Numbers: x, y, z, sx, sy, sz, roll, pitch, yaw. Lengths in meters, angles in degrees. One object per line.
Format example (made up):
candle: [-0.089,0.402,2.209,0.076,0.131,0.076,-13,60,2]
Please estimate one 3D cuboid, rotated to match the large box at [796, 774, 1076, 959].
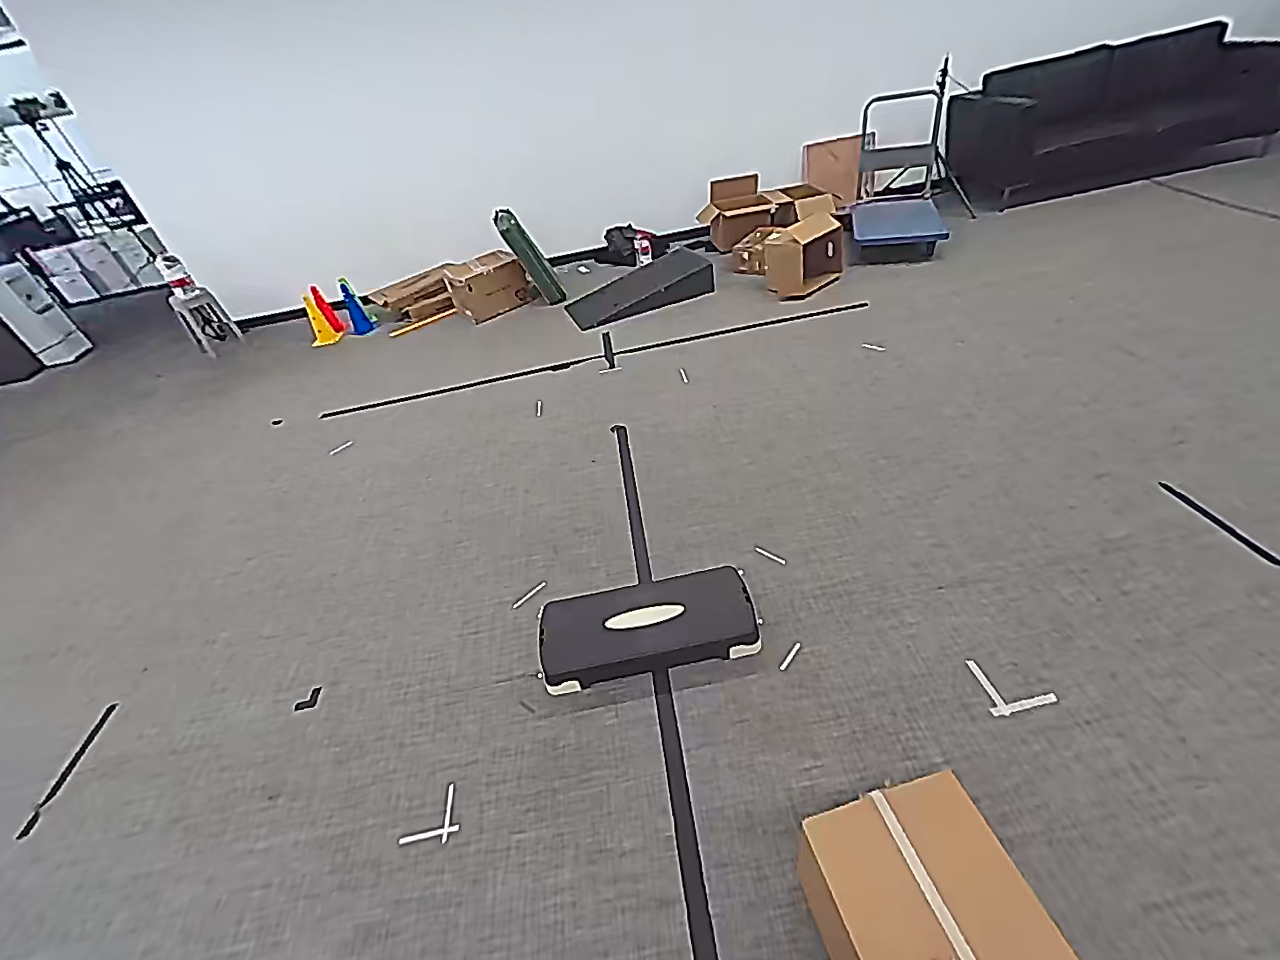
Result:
large box: [0.519,0.834,0.974,0.320,0.320,0.408,-16,40,-5]
